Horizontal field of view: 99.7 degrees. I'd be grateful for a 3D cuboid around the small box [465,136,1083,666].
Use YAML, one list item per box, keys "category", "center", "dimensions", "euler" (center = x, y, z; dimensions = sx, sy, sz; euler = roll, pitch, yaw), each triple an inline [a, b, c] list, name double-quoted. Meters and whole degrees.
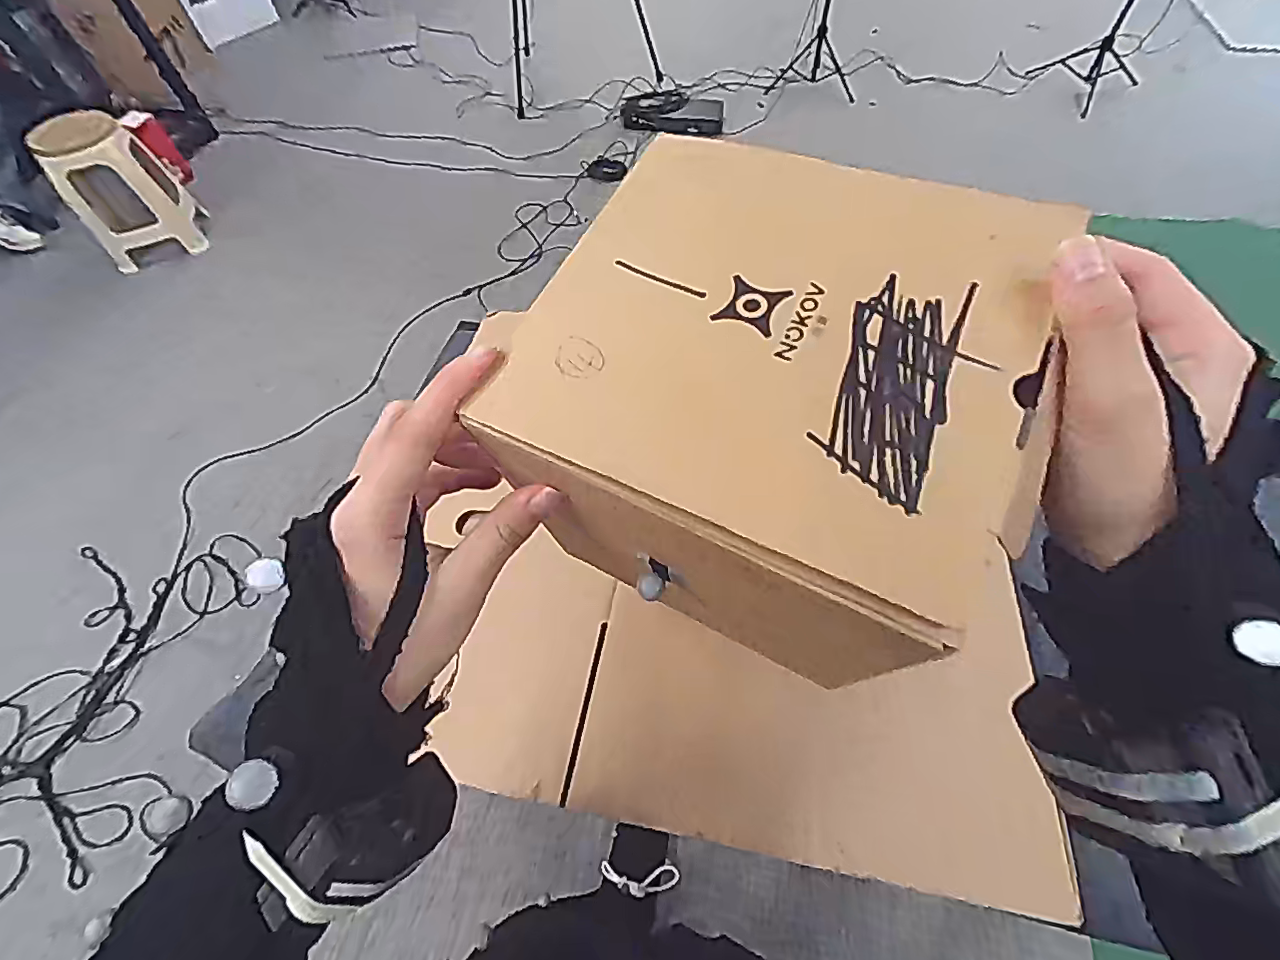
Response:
- category: "small box"
  center: [0.058, -0.023, 0.269]
  dimensions: [0.179, 0.176, 0.168]
  euler: [24, 70, 18]
